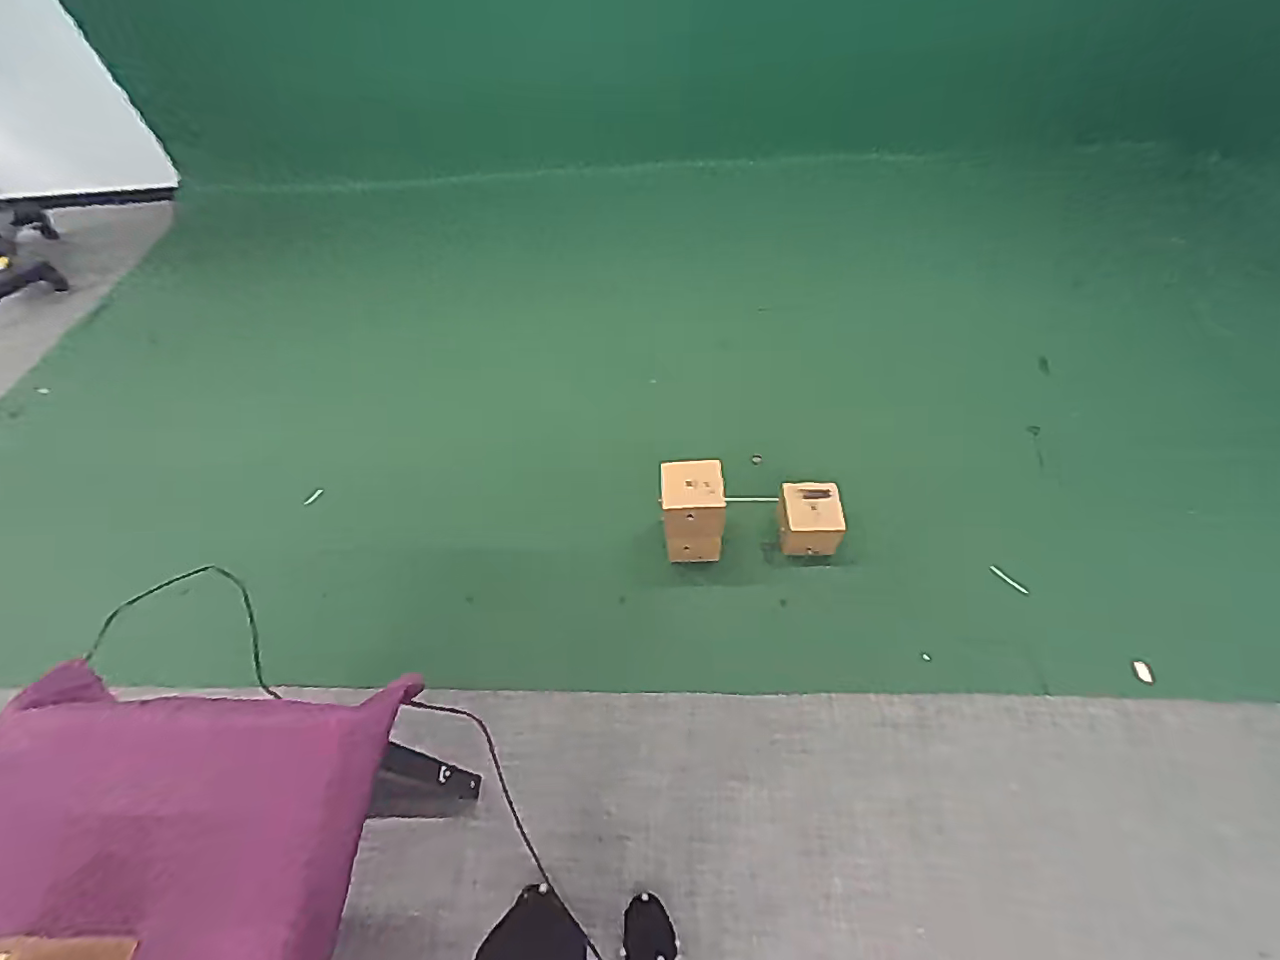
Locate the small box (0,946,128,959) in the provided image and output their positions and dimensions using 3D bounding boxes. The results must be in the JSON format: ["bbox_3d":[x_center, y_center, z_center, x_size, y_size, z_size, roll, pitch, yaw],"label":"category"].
[{"bbox_3d":[-0.739,0.626,0.590,0.179,0.176,0.168,-3,54,4],"label":"small box"}]

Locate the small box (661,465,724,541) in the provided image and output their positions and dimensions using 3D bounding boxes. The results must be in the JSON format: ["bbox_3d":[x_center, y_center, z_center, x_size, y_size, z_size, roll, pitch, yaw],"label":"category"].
[{"bbox_3d":[0.155,0.072,1.608,0.179,0.176,0.168,-3,54,3],"label":"small box"}]

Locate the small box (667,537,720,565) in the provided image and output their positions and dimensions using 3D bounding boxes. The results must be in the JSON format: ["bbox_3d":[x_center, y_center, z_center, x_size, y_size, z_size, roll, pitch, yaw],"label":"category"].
[{"bbox_3d":[0.171,0.165,1.743,0.168,0.176,0.179,-3,53,4],"label":"small box"}]
